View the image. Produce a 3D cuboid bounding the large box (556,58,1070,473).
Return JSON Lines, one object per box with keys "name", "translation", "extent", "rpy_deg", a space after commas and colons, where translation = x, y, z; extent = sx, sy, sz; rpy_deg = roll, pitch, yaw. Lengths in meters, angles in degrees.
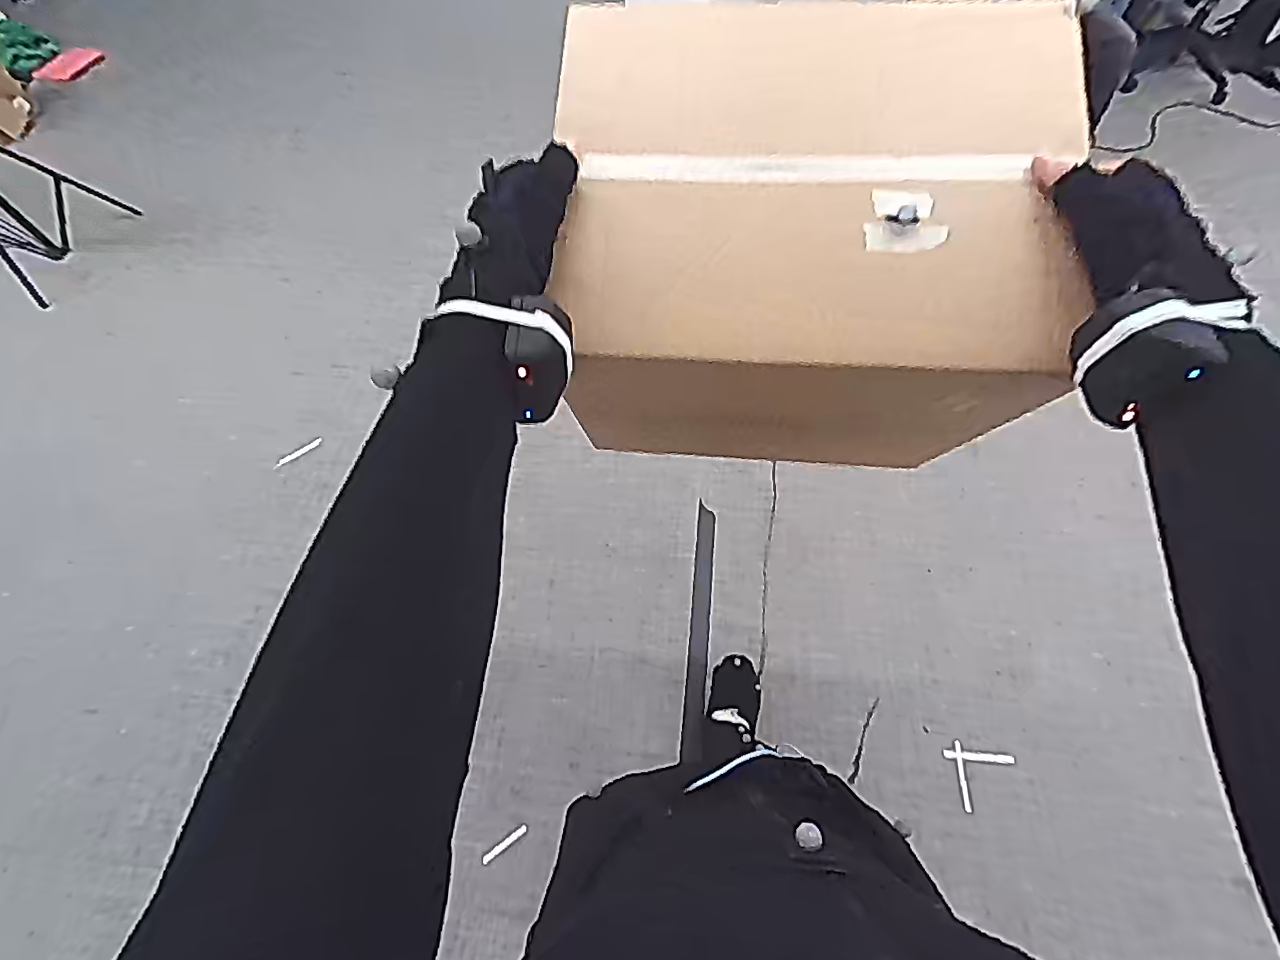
{"name": "large box", "translation": [0.143, -0.192, 0.593], "extent": [0.408, 0.320, 0.320], "rpy_deg": [3, 80, 4]}
